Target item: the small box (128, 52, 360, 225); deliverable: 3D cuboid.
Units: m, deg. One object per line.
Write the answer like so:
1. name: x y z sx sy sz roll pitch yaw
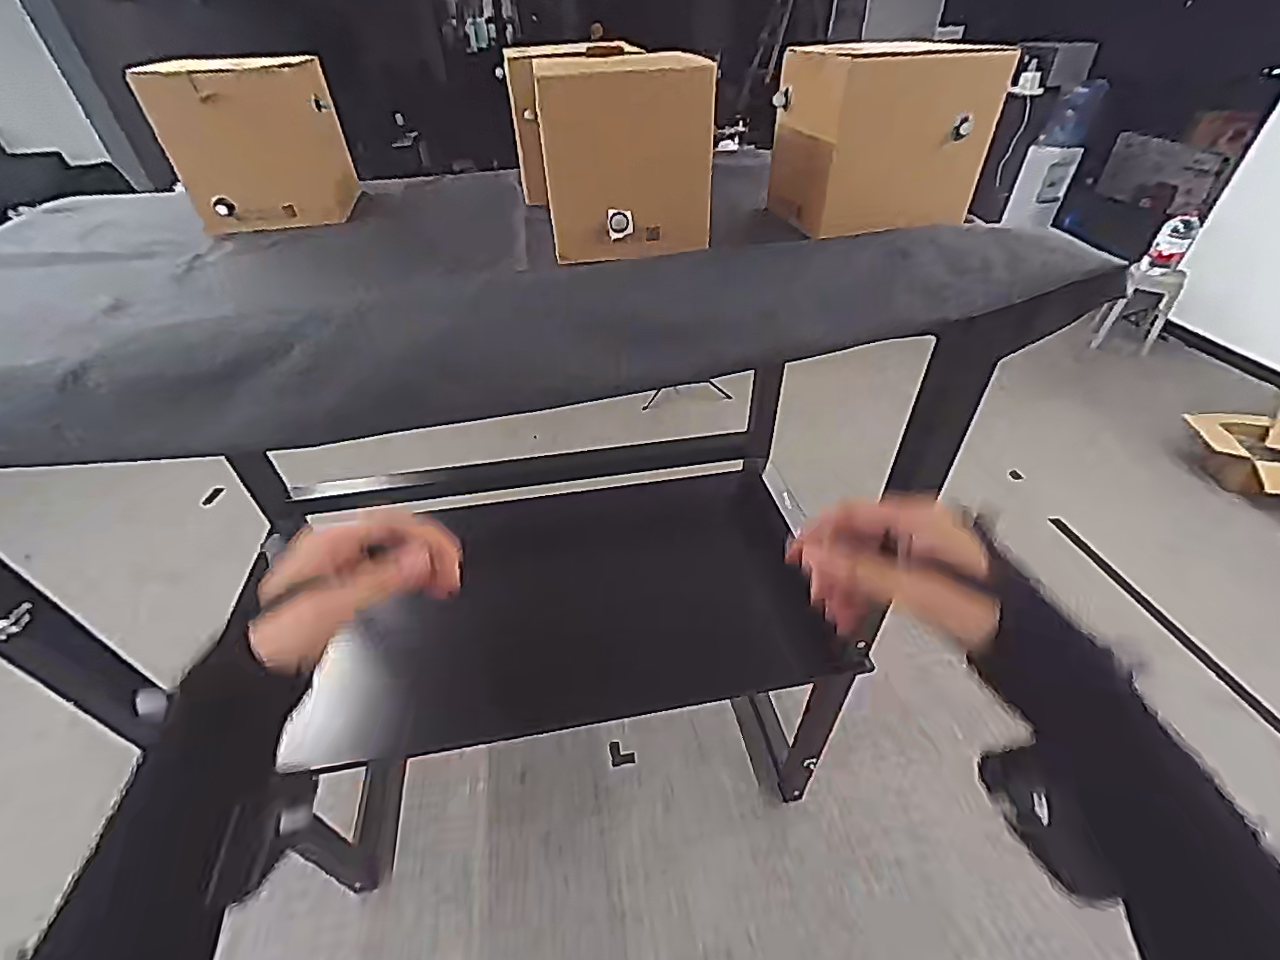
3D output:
1. small box: -0.485 -0.440 0.701 0.168 0.176 0.179 -10 42 -10

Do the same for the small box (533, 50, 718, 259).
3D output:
1. small box: -0.020 -0.352 0.584 0.168 0.176 0.179 -8 41 -5

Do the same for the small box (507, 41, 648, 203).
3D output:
1. small box: -0.087 -0.503 0.760 0.179 0.176 0.168 -8 41 -8
